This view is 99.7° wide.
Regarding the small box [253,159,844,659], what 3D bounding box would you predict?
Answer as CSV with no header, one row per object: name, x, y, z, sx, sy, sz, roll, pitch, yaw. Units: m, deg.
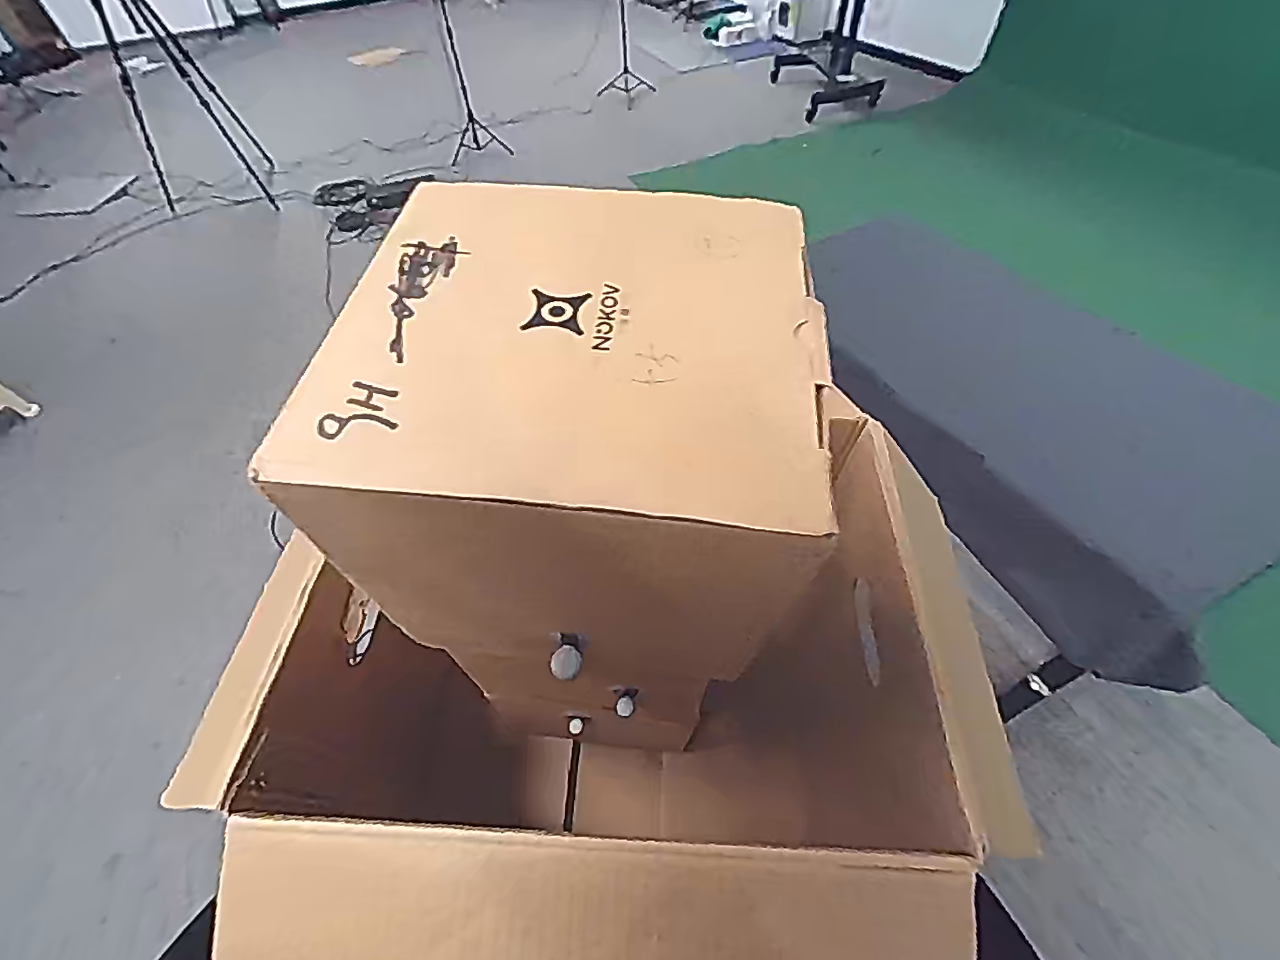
small box,-0.022,-0.021,0.265,0.179,0.176,0.168,6,57,1
